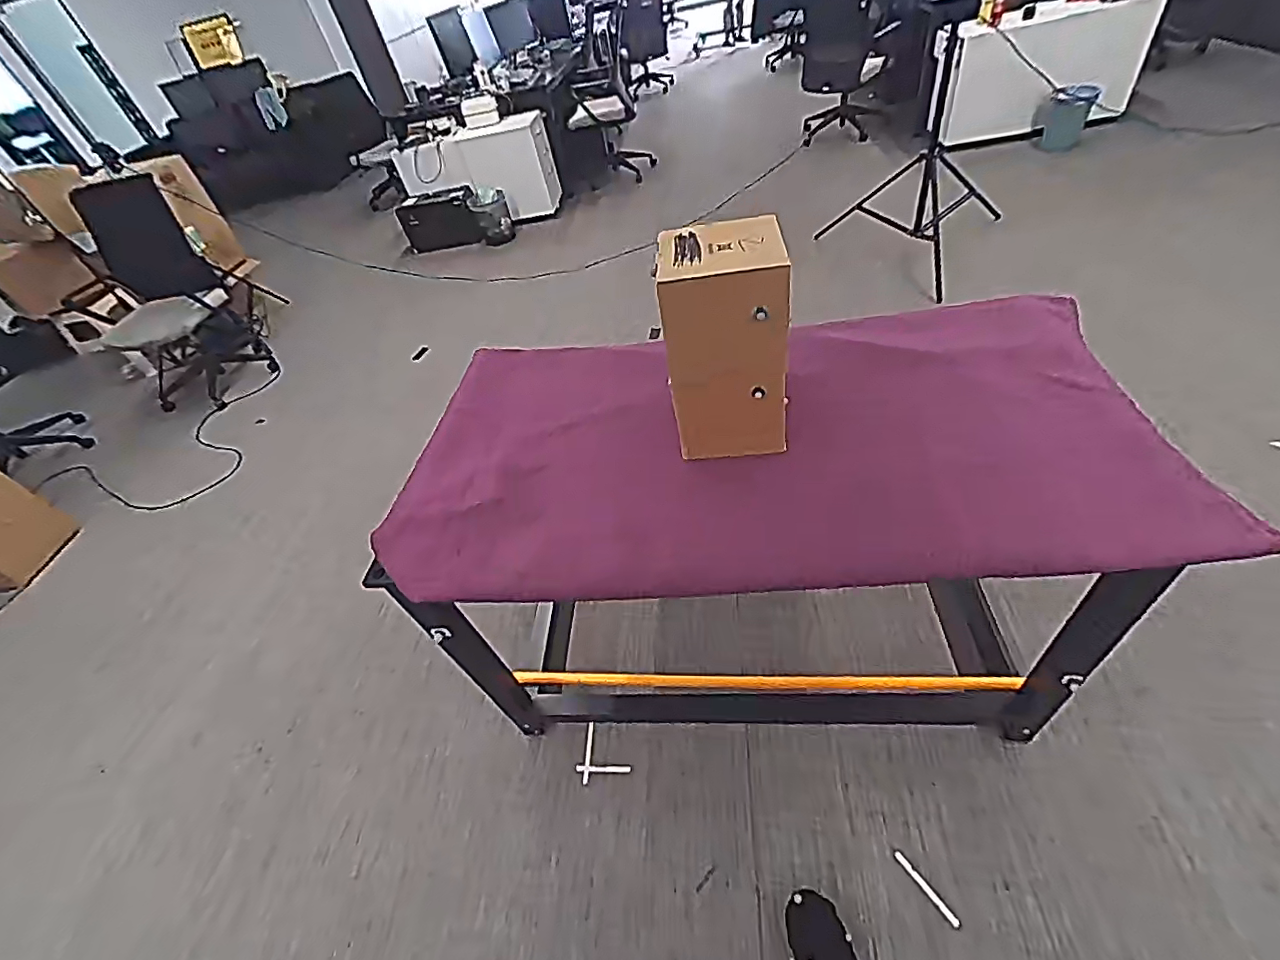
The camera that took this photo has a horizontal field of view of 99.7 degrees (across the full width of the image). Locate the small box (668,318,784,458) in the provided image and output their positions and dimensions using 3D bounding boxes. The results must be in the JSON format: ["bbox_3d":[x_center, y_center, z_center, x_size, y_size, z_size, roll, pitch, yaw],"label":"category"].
[{"bbox_3d":[0.149,-0.152,0.924,0.179,0.176,0.168,-4,45,10],"label":"small box"}]
